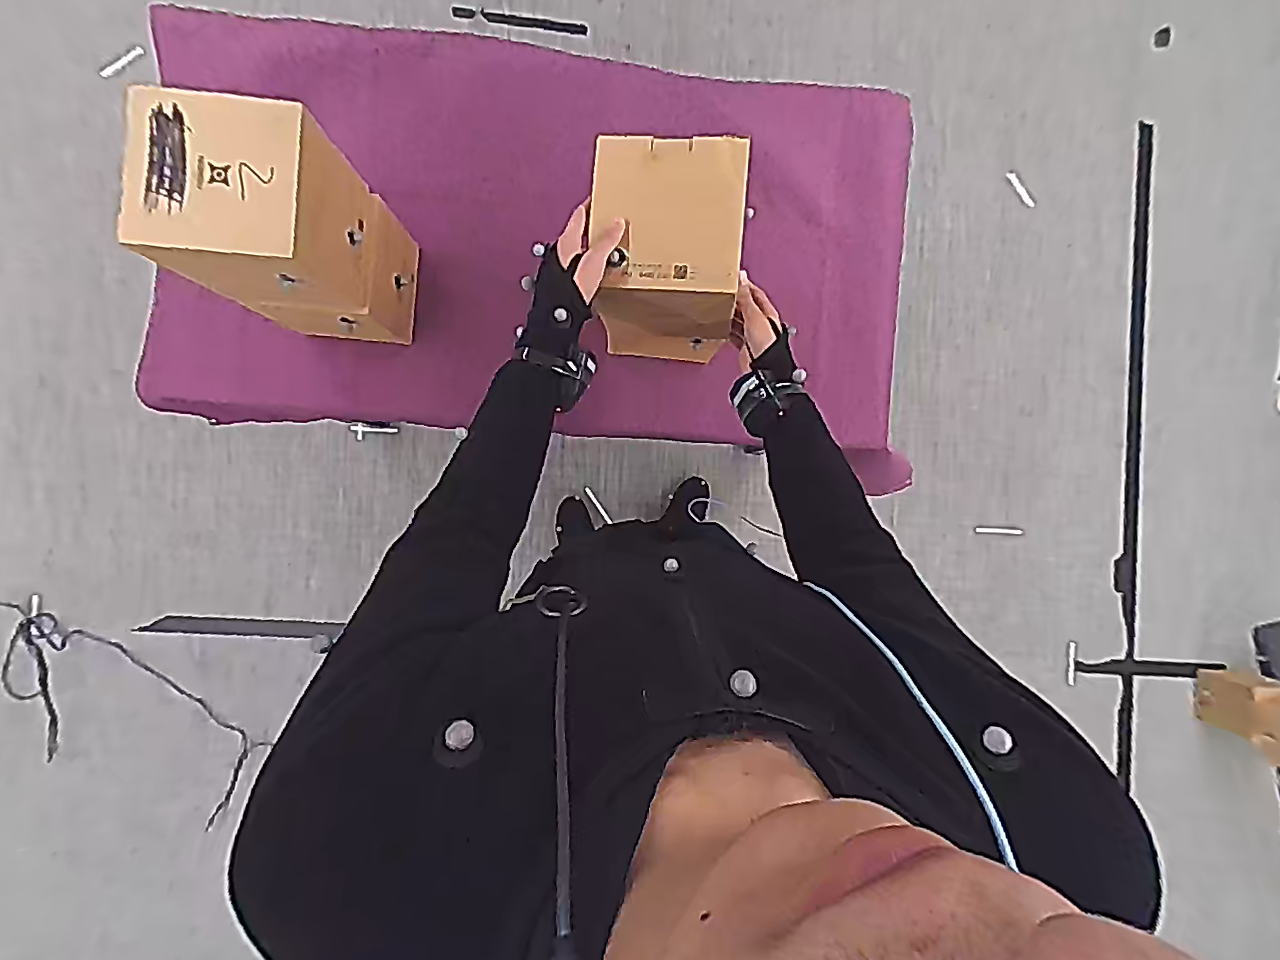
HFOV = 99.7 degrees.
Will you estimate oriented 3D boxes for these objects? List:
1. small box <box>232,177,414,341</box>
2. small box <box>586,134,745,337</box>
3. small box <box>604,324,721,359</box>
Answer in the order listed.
[{"bbox_3d":[-0.451,-0.311,0.797,0.179,0.176,0.168,5,90,-4],"label":"small box"},{"bbox_3d":[0.033,-0.278,0.649,0.168,0.179,0.176,5,89,6],"label":"small box"},{"bbox_3d":[0.036,-0.290,0.832,0.179,0.176,0.168,4,90,-4],"label":"small box"}]
